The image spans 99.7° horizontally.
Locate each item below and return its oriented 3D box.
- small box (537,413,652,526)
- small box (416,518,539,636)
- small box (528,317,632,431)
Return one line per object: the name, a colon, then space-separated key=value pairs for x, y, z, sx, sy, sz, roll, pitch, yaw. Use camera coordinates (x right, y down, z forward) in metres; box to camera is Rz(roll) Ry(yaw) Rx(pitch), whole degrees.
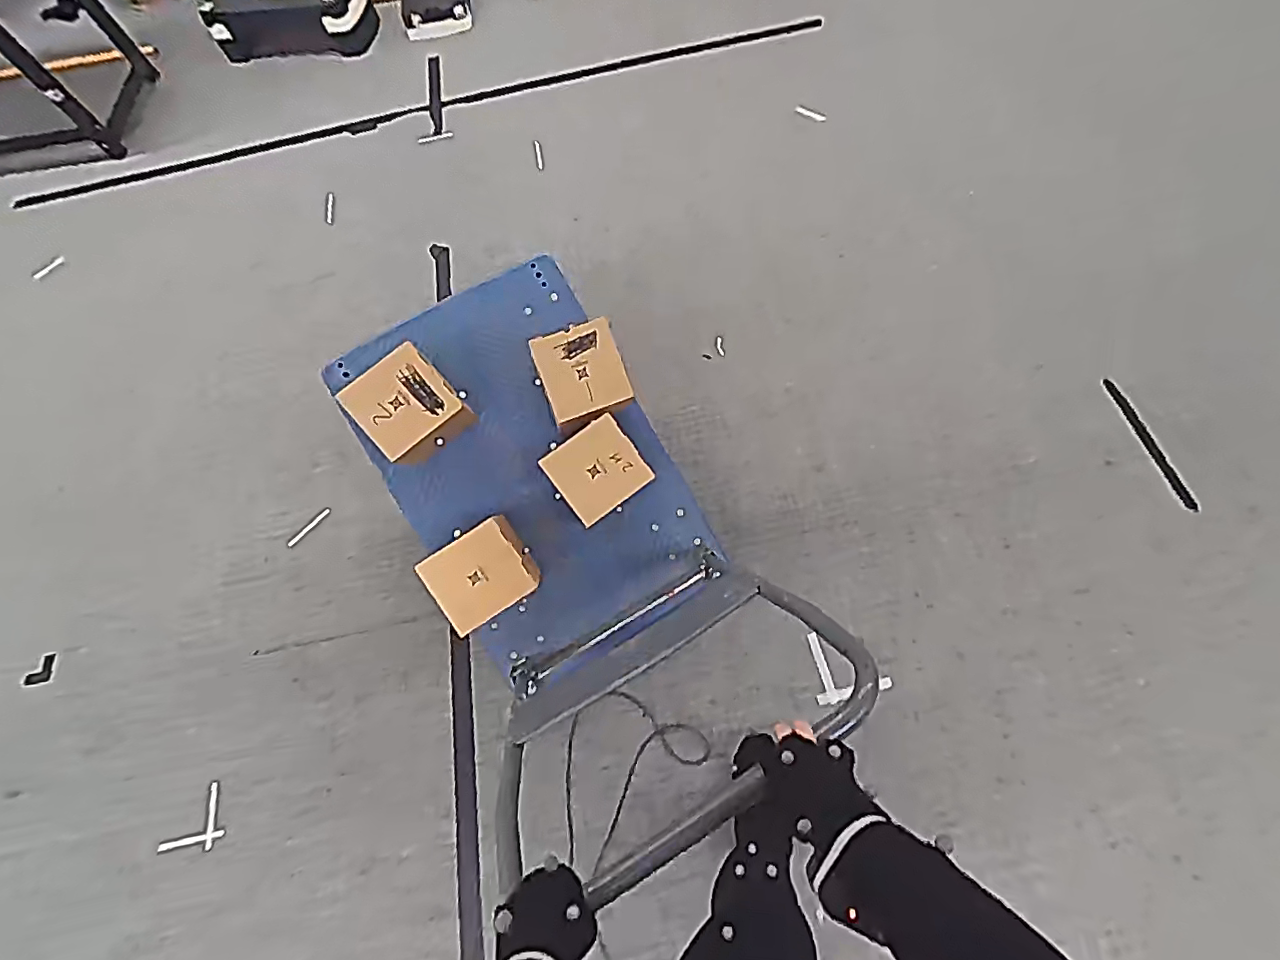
small box: x=-0.097 y=-0.019 z=1.157 sx=0.179 sy=0.176 sz=0.168 roll=-37 pitch=93 yaw=-7
small box: x=-0.325 y=0.192 z=1.123 sx=0.179 sy=0.176 sz=0.168 roll=-34 pitch=93 yaw=-8
small box: x=-0.130 y=-0.219 z=1.159 sx=0.168 sy=0.176 sz=0.179 roll=-21 pitch=92 yaw=-7
